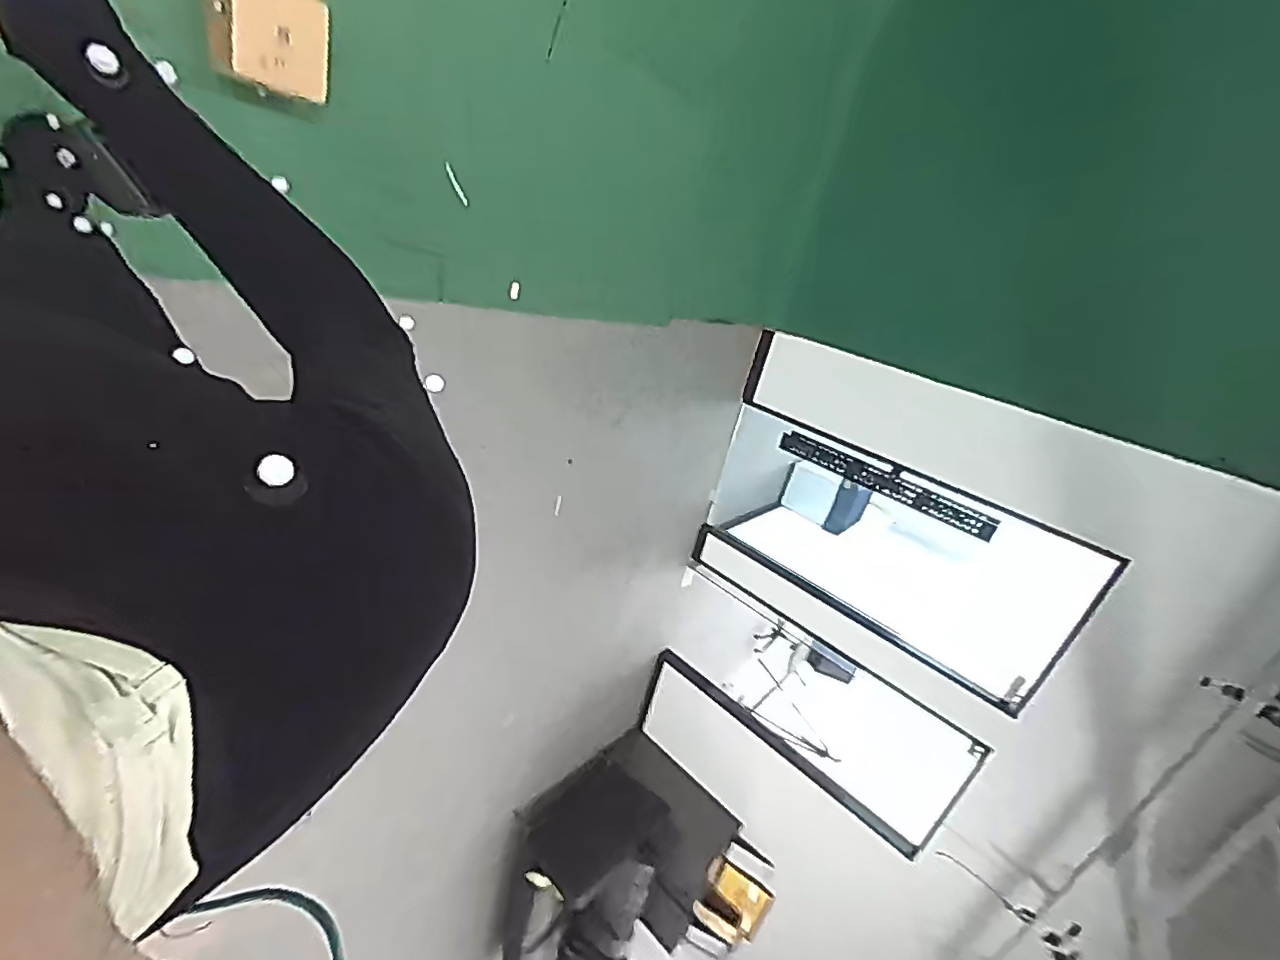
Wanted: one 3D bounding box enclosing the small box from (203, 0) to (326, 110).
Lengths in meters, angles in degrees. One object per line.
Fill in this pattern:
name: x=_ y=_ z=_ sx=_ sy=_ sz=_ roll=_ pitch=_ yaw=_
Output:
small box: x=-0.765 y=-0.889 z=1.103 sx=0.168 sy=0.176 sz=0.179 roll=-12 pitch=125 yaw=-50
